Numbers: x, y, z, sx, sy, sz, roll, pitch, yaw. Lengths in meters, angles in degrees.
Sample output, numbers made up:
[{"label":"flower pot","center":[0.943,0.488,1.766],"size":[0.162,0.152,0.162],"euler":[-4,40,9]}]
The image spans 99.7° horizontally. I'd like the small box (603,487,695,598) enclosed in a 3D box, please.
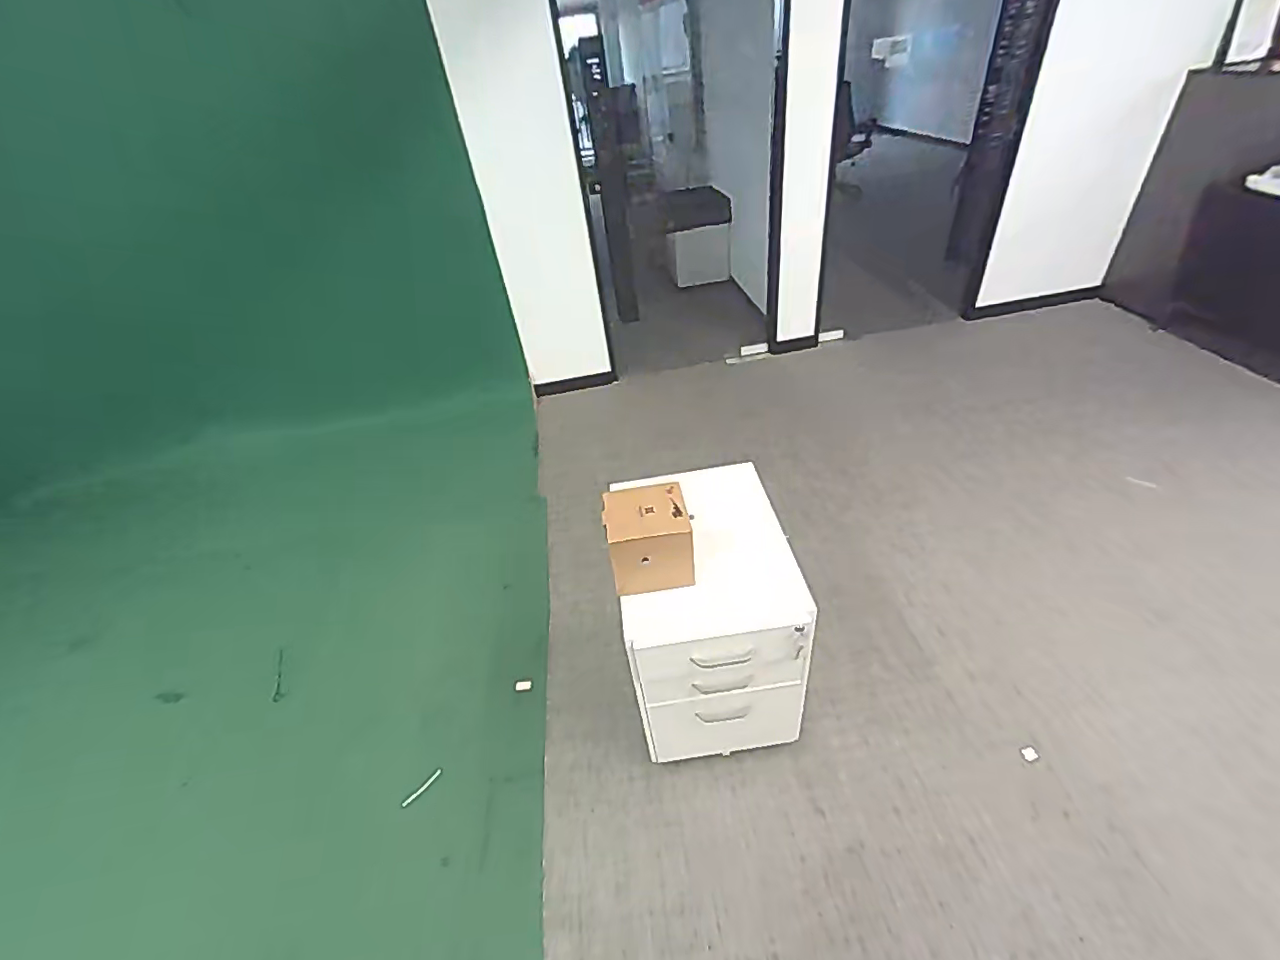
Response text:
[{"label":"small box","center":[0.019,0.140,1.189],"size":[0.179,0.176,0.168],"euler":[-8,38,-1]}]
